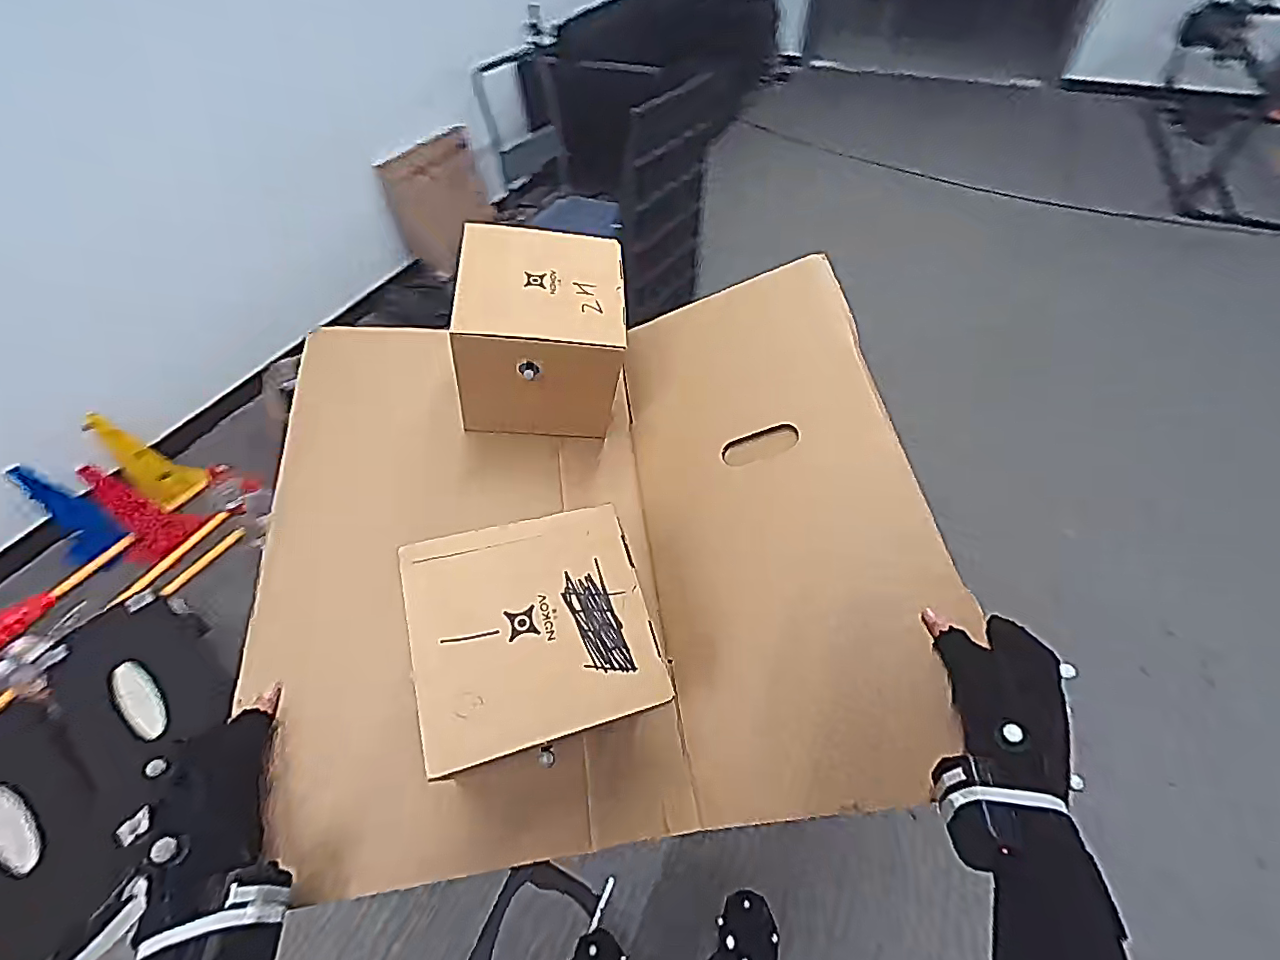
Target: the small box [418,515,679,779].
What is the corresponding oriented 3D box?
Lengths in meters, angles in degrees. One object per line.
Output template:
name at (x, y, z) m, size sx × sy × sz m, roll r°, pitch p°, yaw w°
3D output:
small box at (-0.086, 0.150, 0.482) m, size 0.179 × 0.176 × 0.168 m, roll -9°, pitch 64°, yaw -16°
